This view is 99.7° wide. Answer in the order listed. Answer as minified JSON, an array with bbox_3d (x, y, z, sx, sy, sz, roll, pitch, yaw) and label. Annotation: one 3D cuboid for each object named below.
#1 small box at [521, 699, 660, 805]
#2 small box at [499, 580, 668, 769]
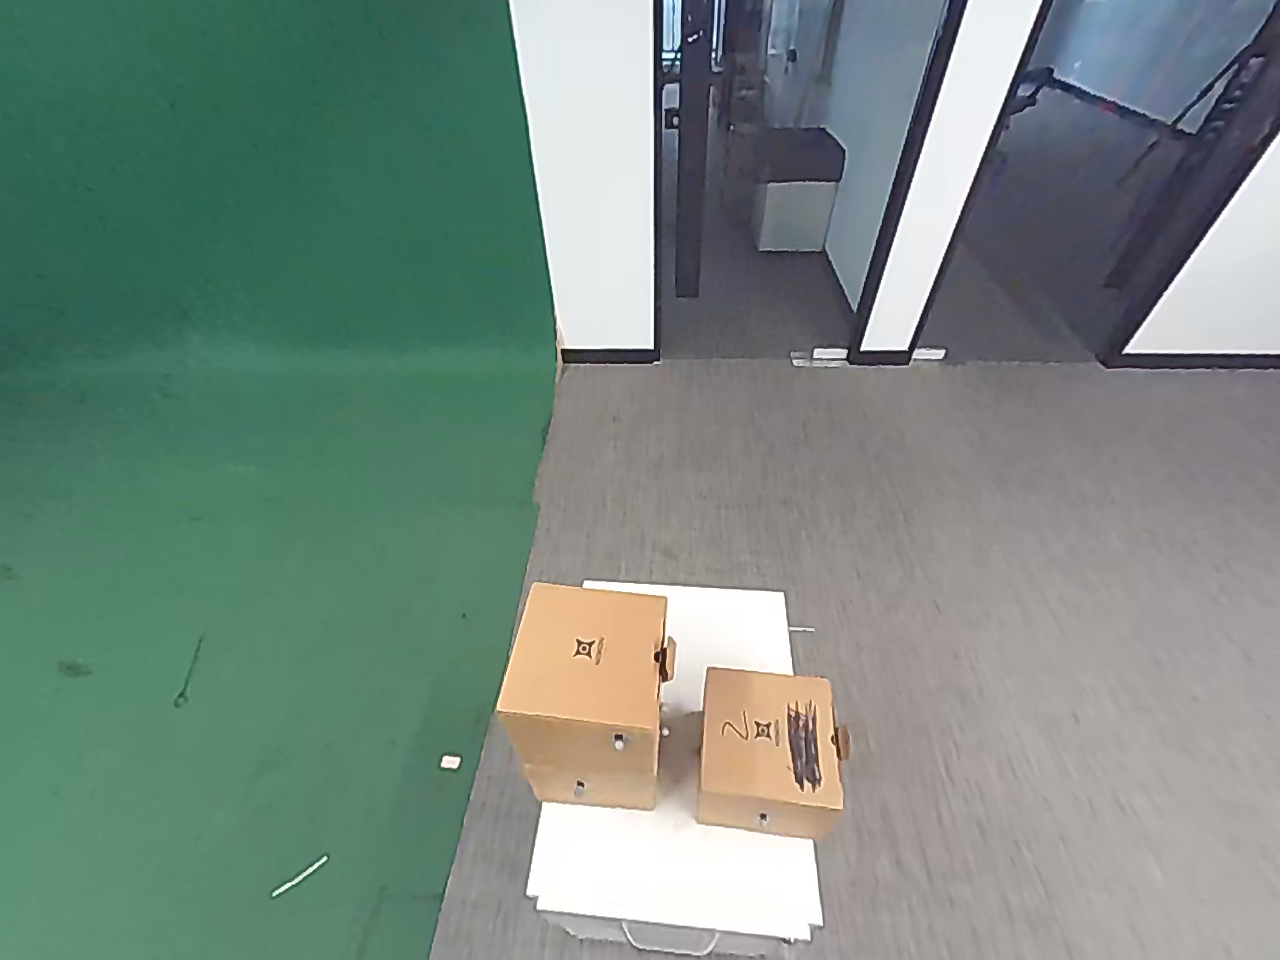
[{"bbox_3d":[-0.061,0.366,0.805,0.179,0.176,0.168,3,46,3],"label":"small box"},{"bbox_3d":[-0.061,0.249,0.690,0.179,0.176,0.168,6,45,3],"label":"small box"}]
